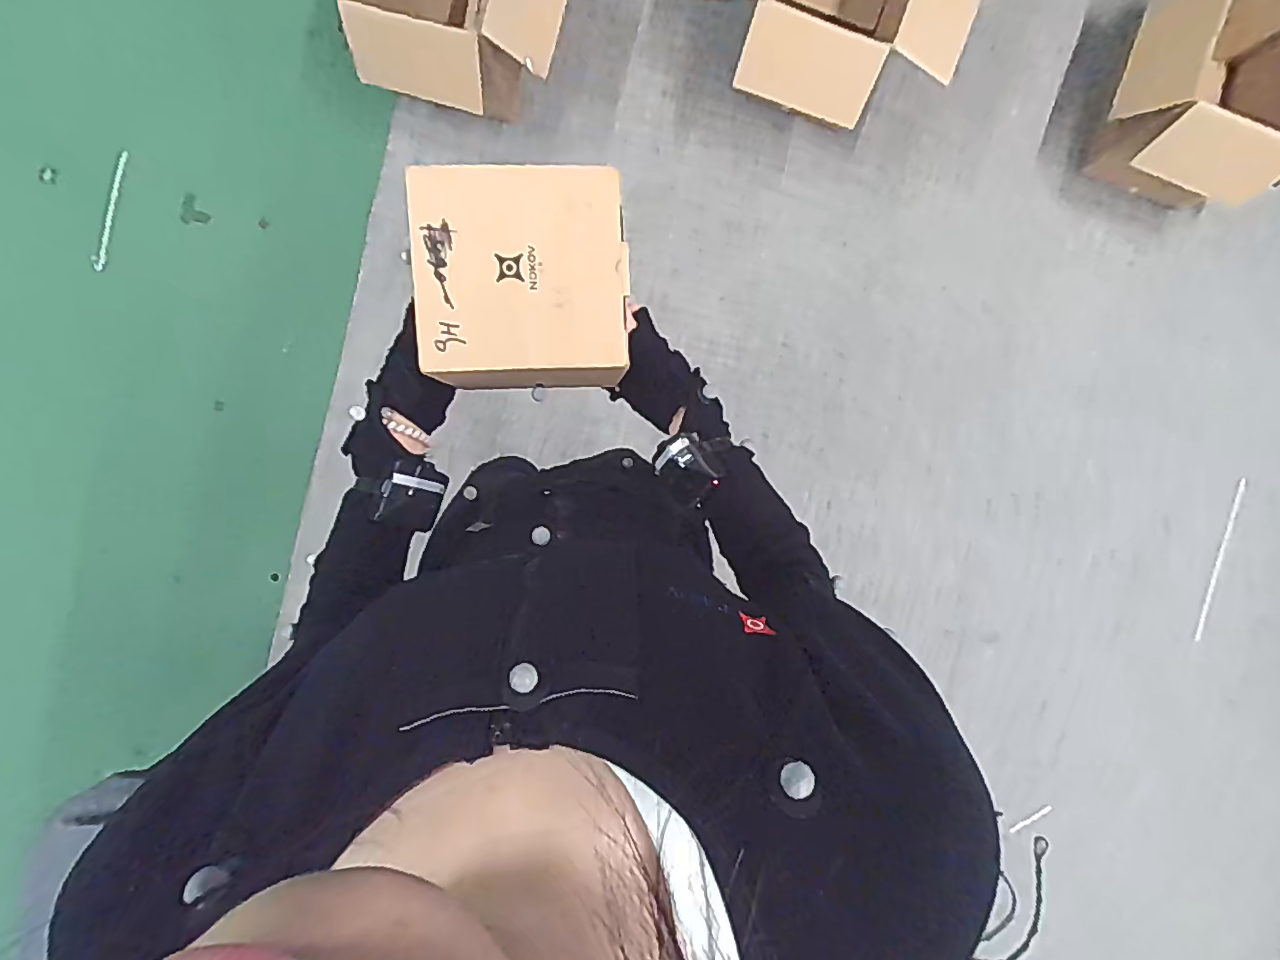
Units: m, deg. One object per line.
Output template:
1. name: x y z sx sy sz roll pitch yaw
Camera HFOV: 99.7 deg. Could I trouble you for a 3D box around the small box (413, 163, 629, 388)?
1. small box: -0.108 -0.182 0.533 0.179 0.176 0.168 -2 94 -7
